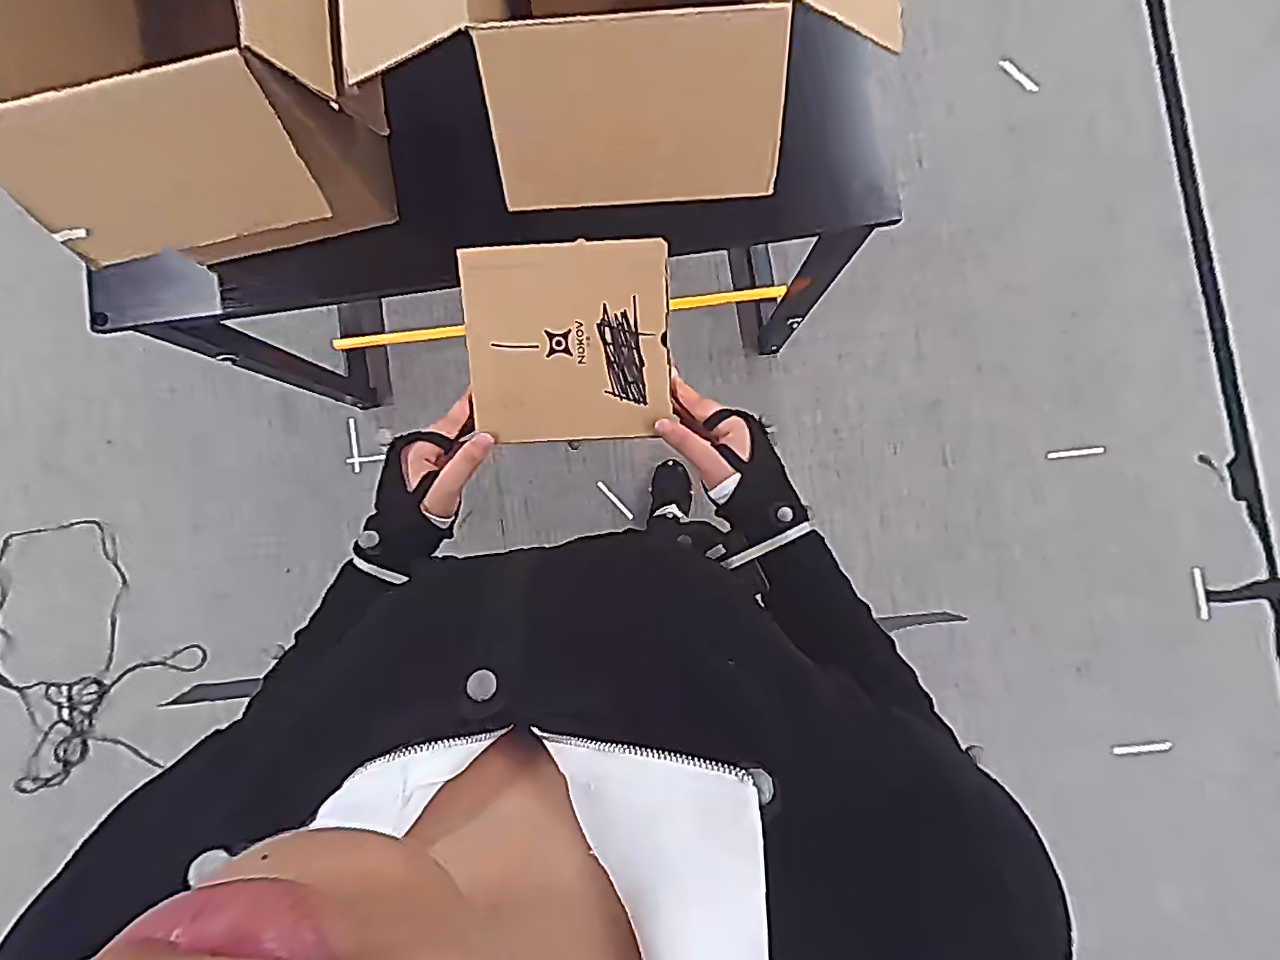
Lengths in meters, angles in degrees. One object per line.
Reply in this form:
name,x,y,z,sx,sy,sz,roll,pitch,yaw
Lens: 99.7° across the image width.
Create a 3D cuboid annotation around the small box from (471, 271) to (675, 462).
small box,-0.060,-0.114,0.560,0.179,0.176,0.168,-3,100,0
